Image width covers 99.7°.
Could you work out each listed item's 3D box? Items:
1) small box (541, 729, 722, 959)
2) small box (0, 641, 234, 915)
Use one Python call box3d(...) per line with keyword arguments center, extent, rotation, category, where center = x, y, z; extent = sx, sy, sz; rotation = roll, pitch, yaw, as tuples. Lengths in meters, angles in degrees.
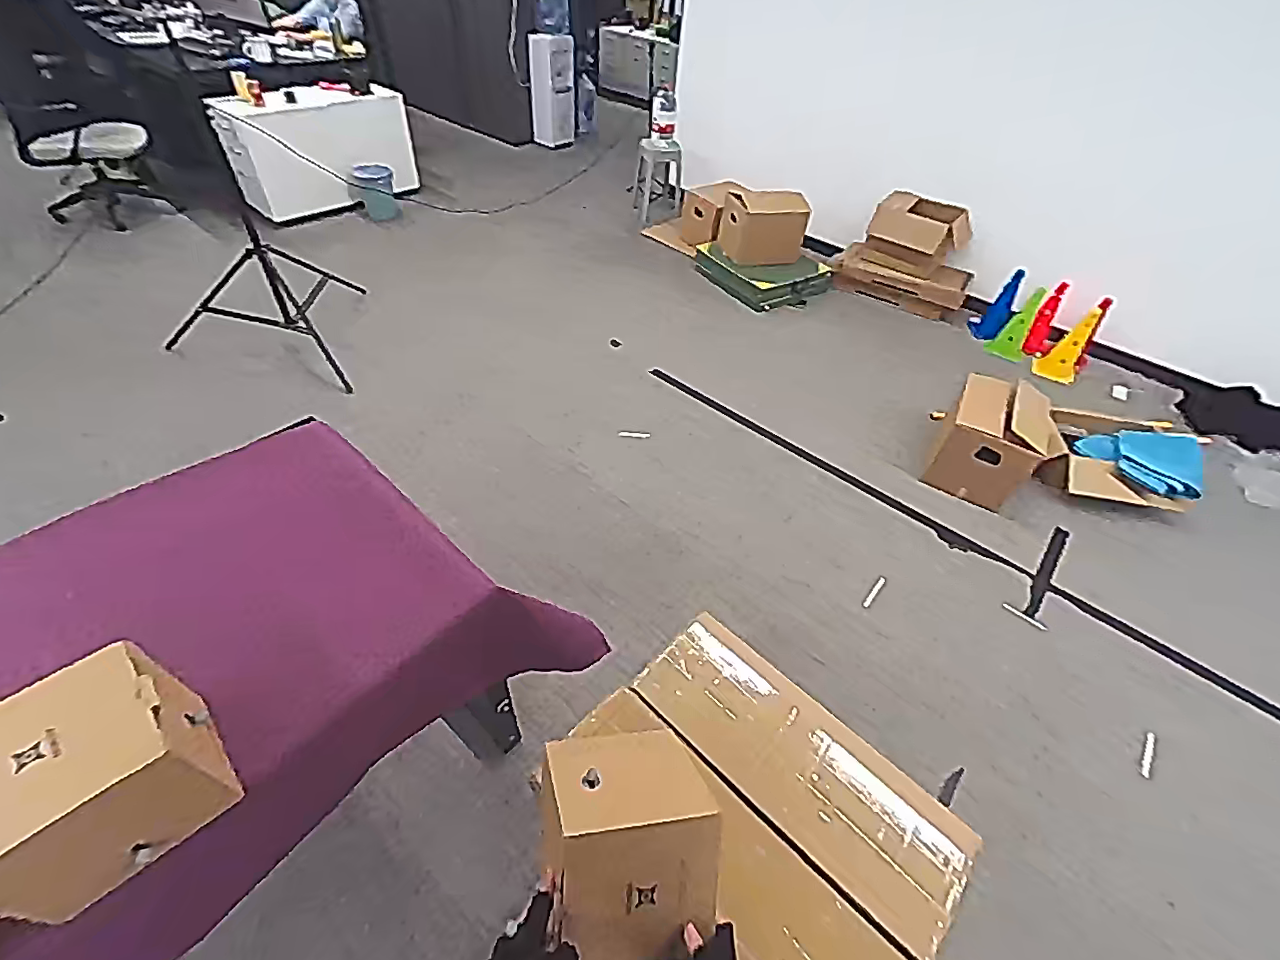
box3d(center=(-0.021, 0.420, 0.638), extent=(0.179, 0.168, 0.176), rotation=(1, 5, -17), category="small box")
box3d(center=(-0.584, 0.320, 0.588), extent=(0.179, 0.176, 0.168), rotation=(-32, 56, -33), category="small box")
